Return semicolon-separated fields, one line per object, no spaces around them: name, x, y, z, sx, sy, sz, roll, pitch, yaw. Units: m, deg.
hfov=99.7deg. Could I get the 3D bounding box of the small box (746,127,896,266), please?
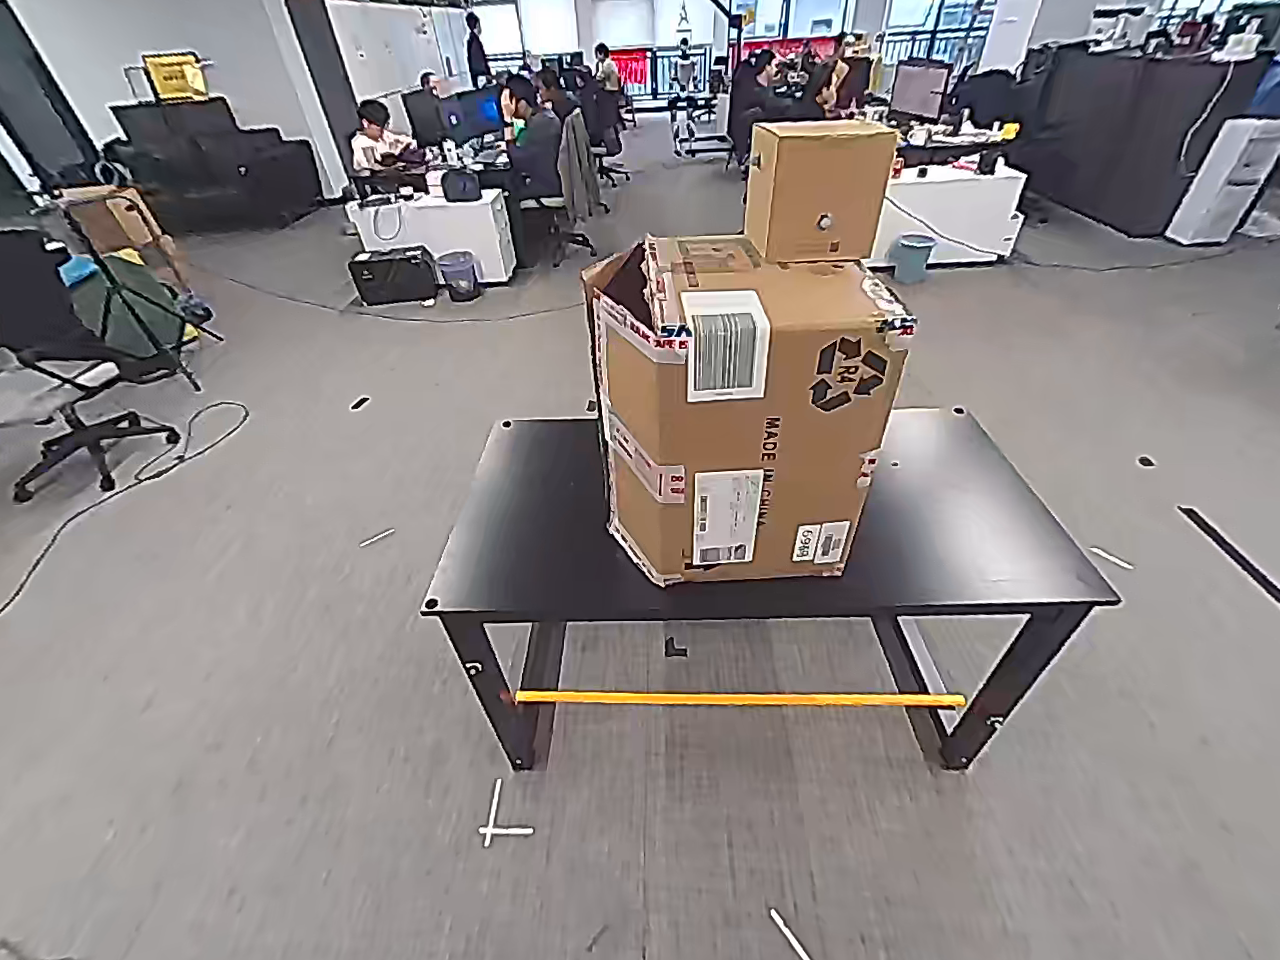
small box;0.269;-0.447;0.851;0.168;0.176;0.179;-3;38;-1
